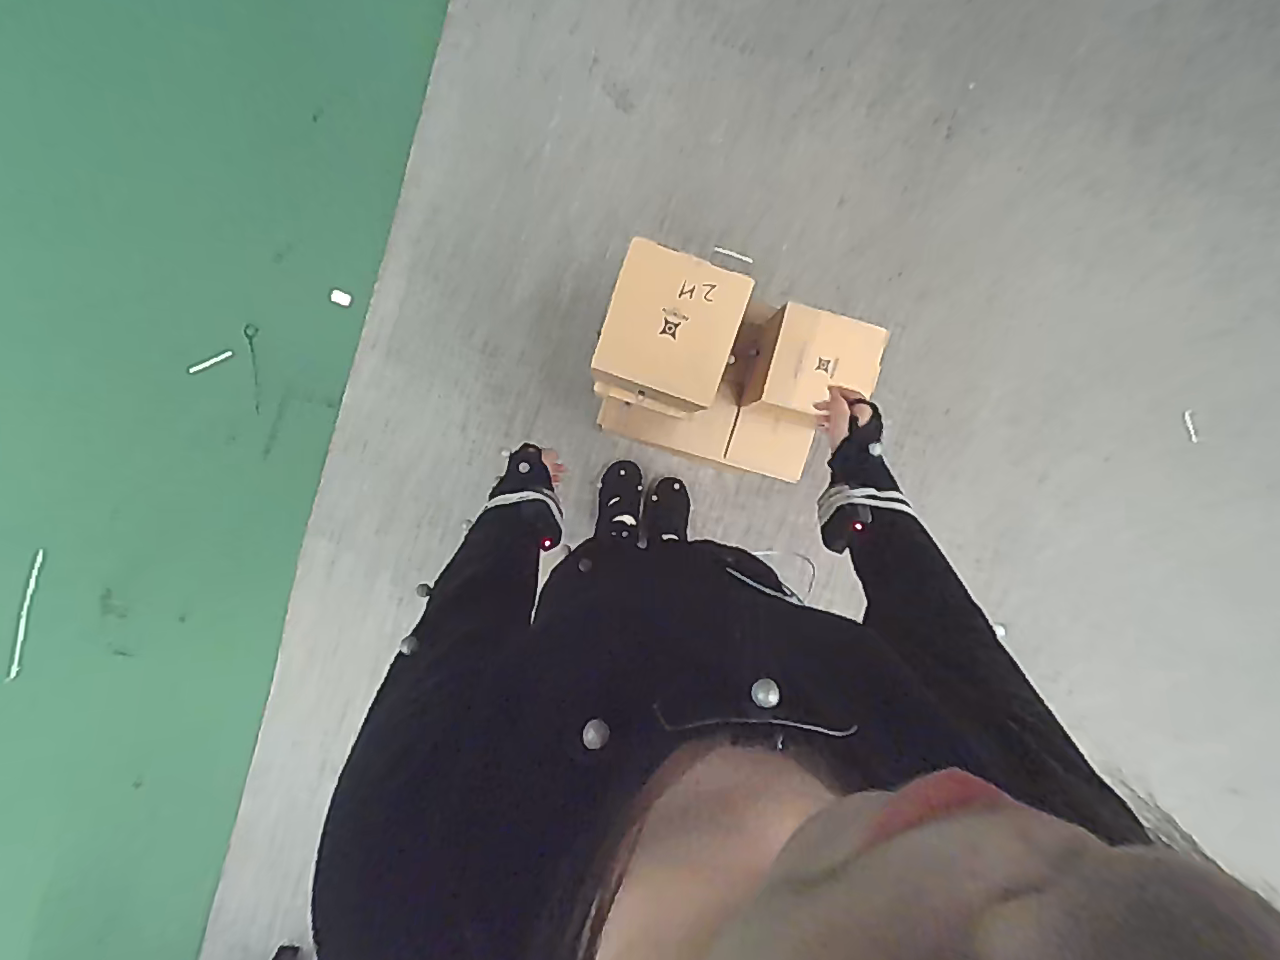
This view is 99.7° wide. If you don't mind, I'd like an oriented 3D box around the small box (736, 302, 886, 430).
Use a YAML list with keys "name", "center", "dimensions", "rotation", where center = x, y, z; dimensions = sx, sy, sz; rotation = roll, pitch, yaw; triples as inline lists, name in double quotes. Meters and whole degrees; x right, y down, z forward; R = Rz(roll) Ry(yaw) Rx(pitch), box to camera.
- name: "small box"
  center: [0.287, -0.189, 0.945]
  dimensions: [0.179, 0.176, 0.168]
  rotation: [16, 93, -3]

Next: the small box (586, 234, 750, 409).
- name: "small box"
  center: [0.032, -0.207, 0.764]
  dimensions: [0.168, 0.176, 0.179]
  rotation: [20, 94, -6]

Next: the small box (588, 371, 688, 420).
- name: "small box"
  center: [0.018, -0.210, 0.928]
  dimensions: [0.168, 0.176, 0.179]
  rotation: [18, 94, -6]
